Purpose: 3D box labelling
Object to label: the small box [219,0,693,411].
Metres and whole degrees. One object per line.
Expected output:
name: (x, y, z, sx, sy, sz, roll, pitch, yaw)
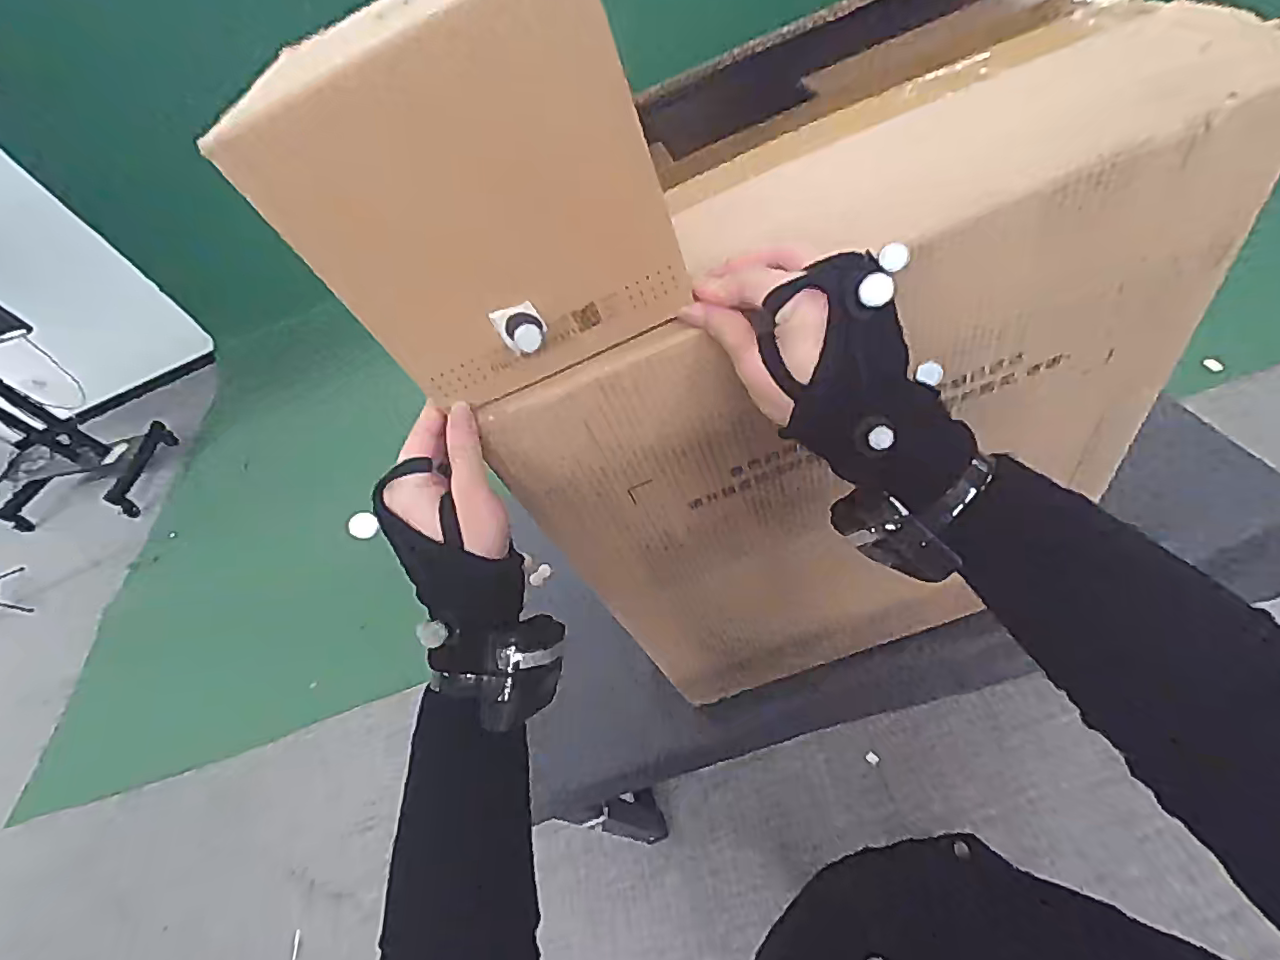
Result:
small box: (-0.087, -0.174, 0.319, 0.168, 0.176, 0.179, -26, 50, 5)
